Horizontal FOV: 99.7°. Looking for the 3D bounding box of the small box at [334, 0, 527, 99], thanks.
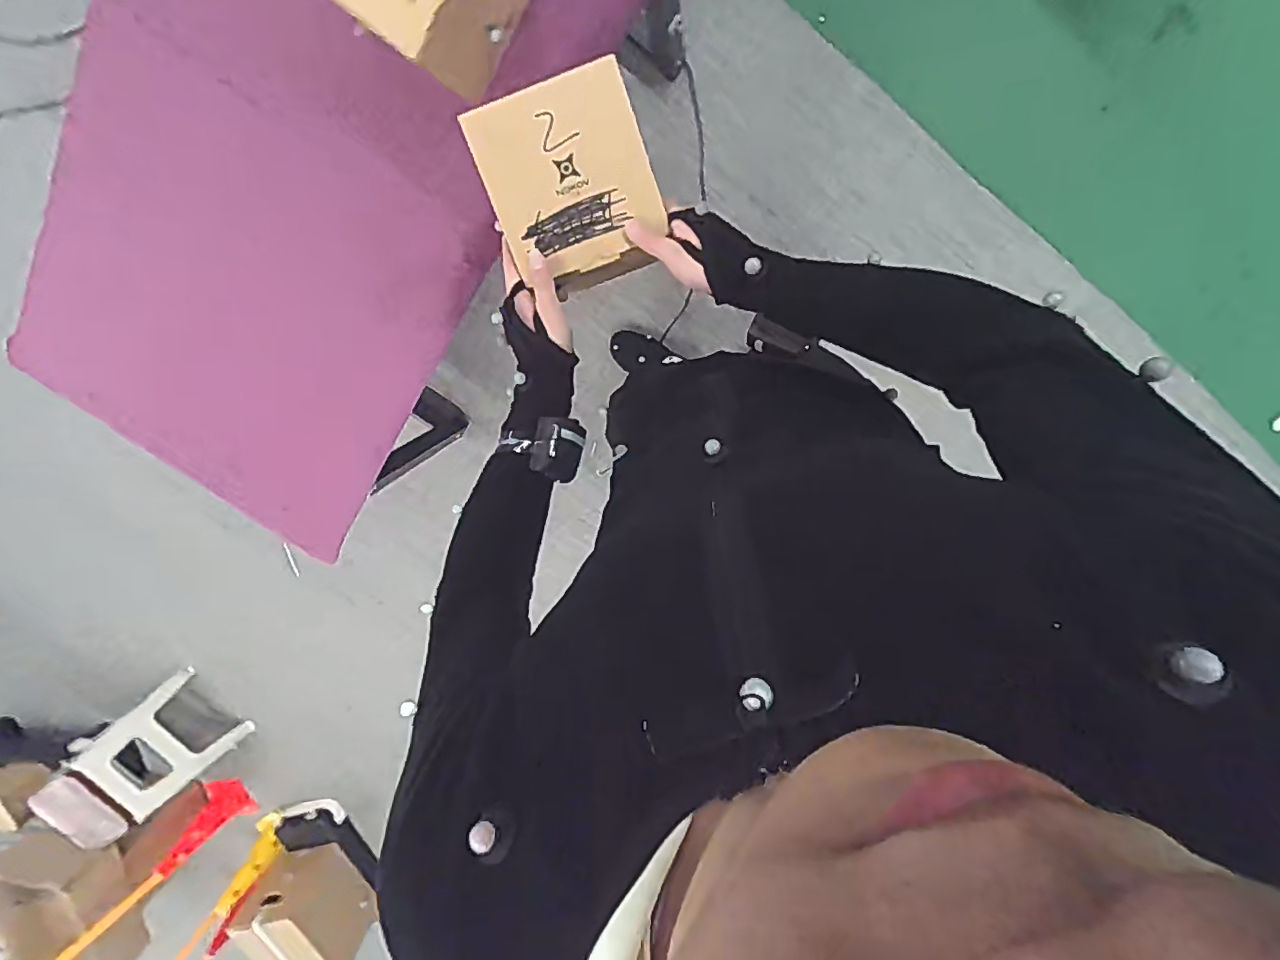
[{"bbox_3d":[-0.263,-0.596,0.635,0.179,0.176,0.168,36,111,-6],"label":"small box"}]
